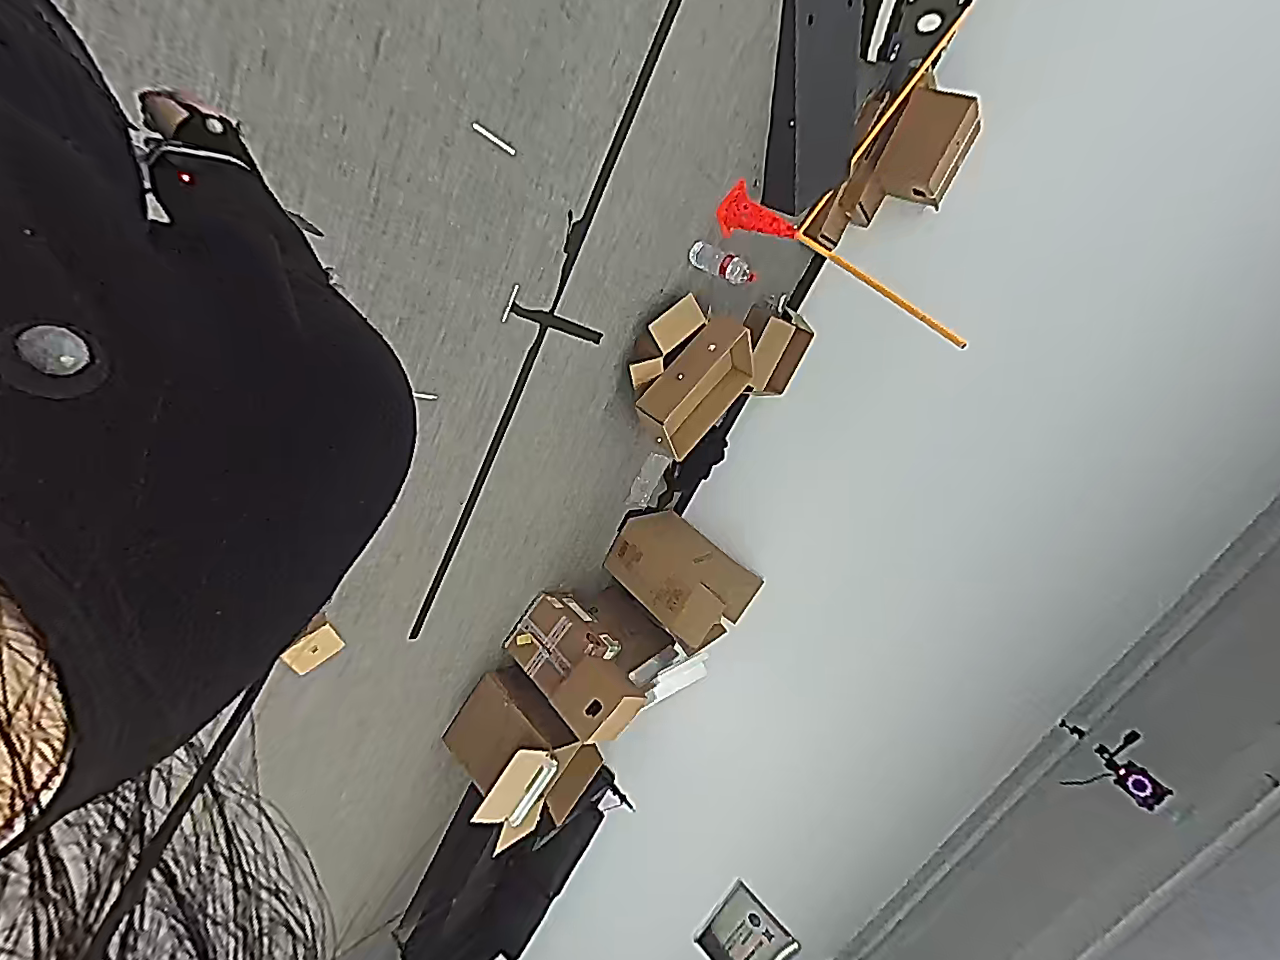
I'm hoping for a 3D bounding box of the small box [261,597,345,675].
[{"bbox_3d":[-1.184,0.540,1.896,0.168,0.176,0.179,-36,150,-29],"label":"small box"}]
